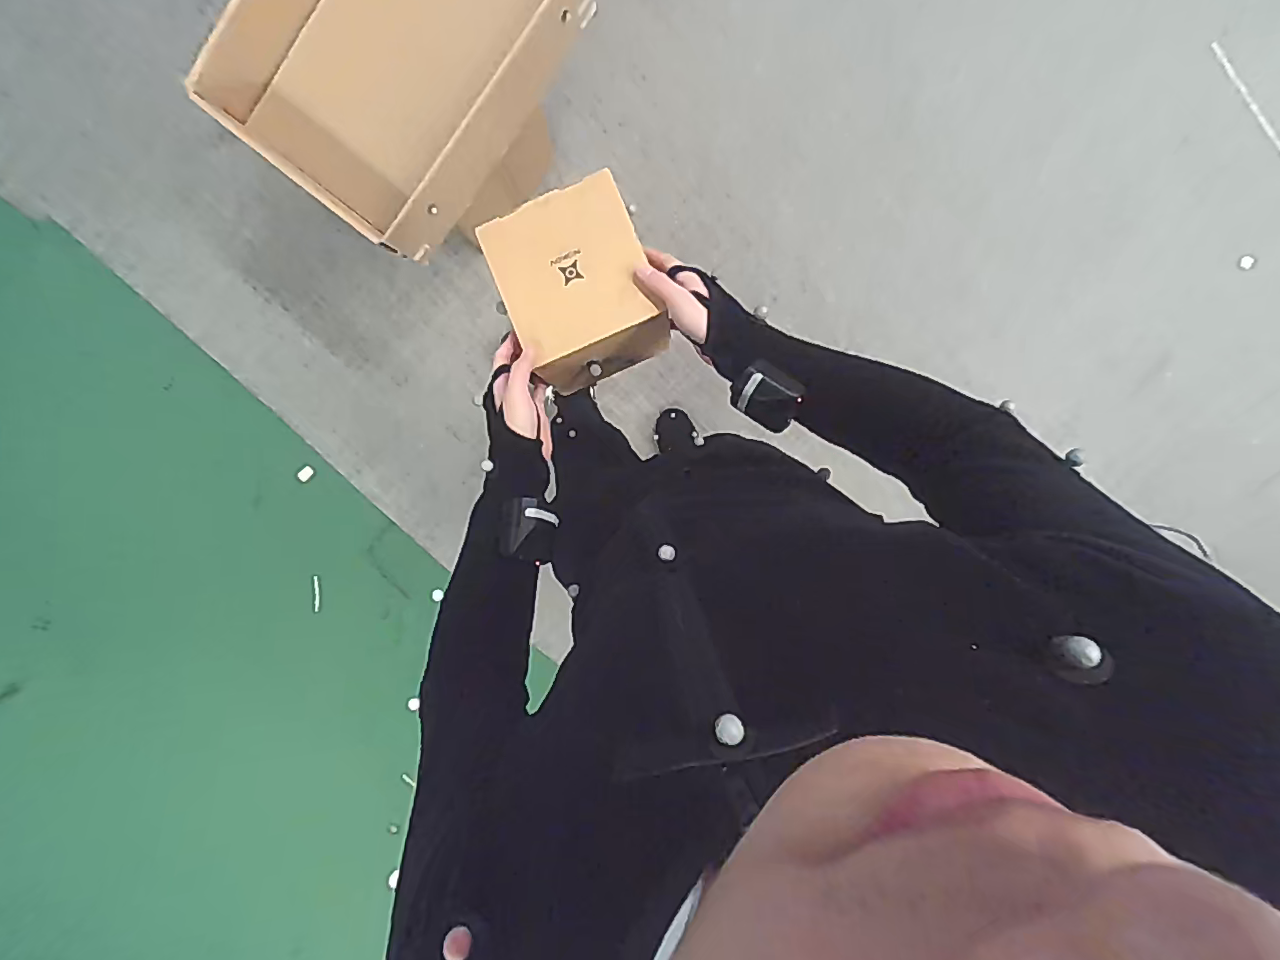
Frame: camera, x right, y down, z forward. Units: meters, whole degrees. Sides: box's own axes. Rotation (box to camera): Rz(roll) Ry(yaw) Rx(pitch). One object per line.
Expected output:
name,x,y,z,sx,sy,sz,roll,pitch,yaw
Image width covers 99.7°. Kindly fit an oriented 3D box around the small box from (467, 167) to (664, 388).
small box,-0.076,-0.224,0.657,0.168,0.176,0.179,-23,86,4
